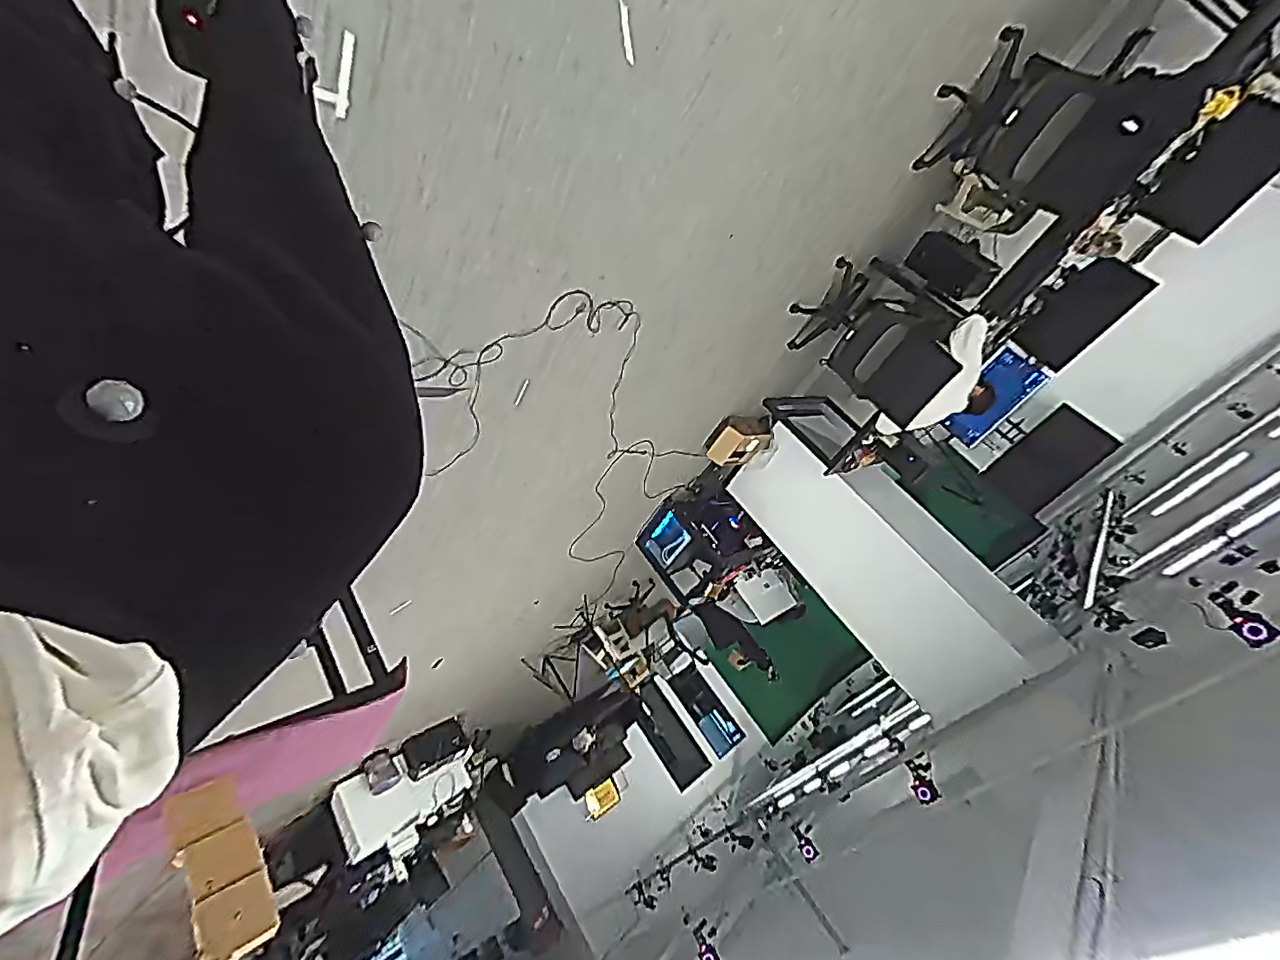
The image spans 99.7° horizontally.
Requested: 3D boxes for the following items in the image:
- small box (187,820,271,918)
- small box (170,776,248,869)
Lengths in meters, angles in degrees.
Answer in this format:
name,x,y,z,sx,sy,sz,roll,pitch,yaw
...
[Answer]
name,x,y,z,sx,sy,sz,roll,pitch,yaw
small box,-1.283,1.208,1.688,0.179,0.176,0.168,-12,145,-45
small box,-1.393,1.101,1.746,0.179,0.176,0.168,-11,145,-45
